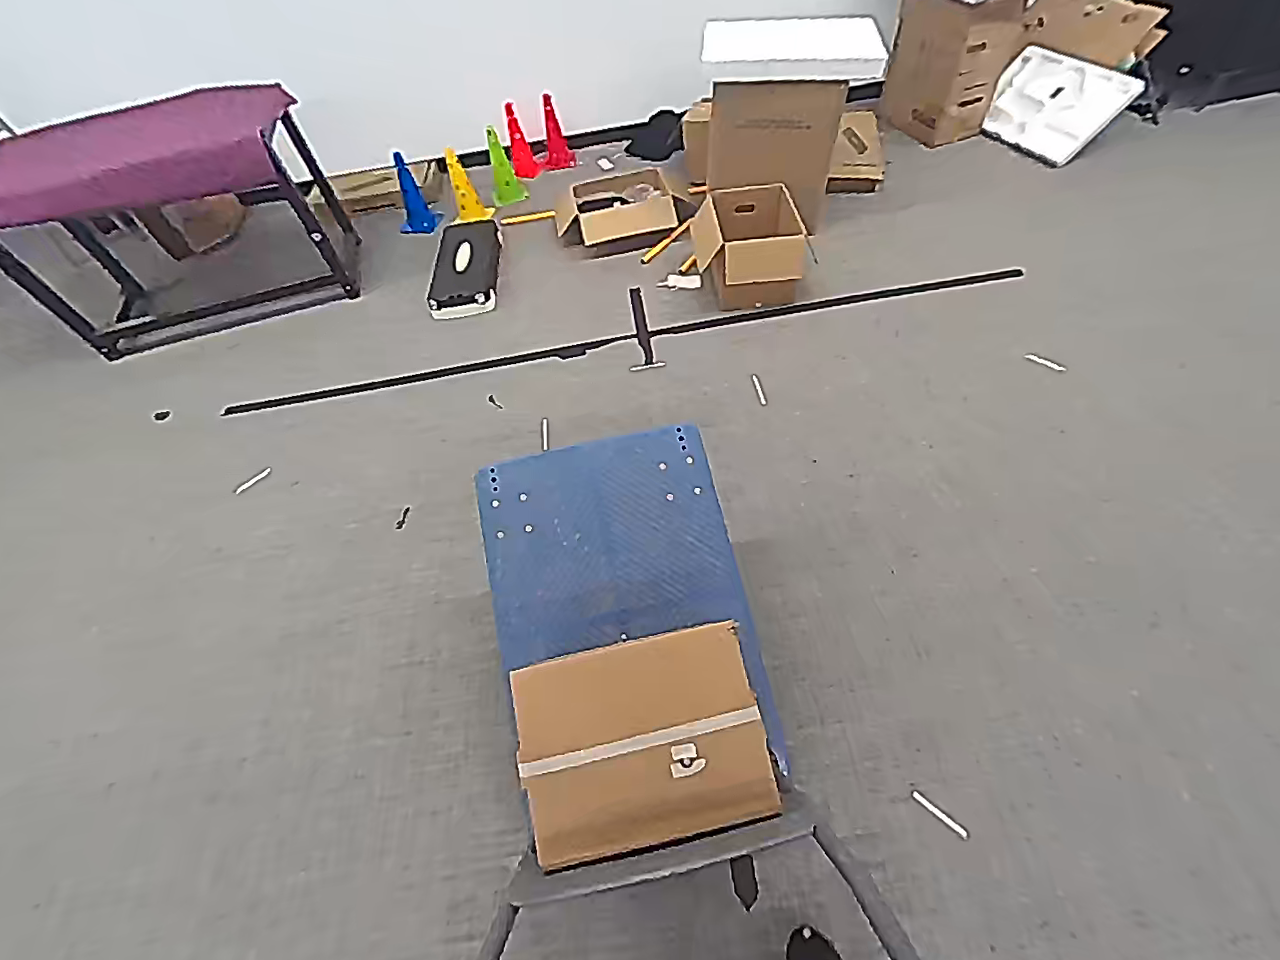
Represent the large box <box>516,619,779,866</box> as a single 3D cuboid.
[{"bbox_3d":[0.006,0.482,1.071,0.408,0.320,0.320,-13,75,-4],"label":"large box"}]
